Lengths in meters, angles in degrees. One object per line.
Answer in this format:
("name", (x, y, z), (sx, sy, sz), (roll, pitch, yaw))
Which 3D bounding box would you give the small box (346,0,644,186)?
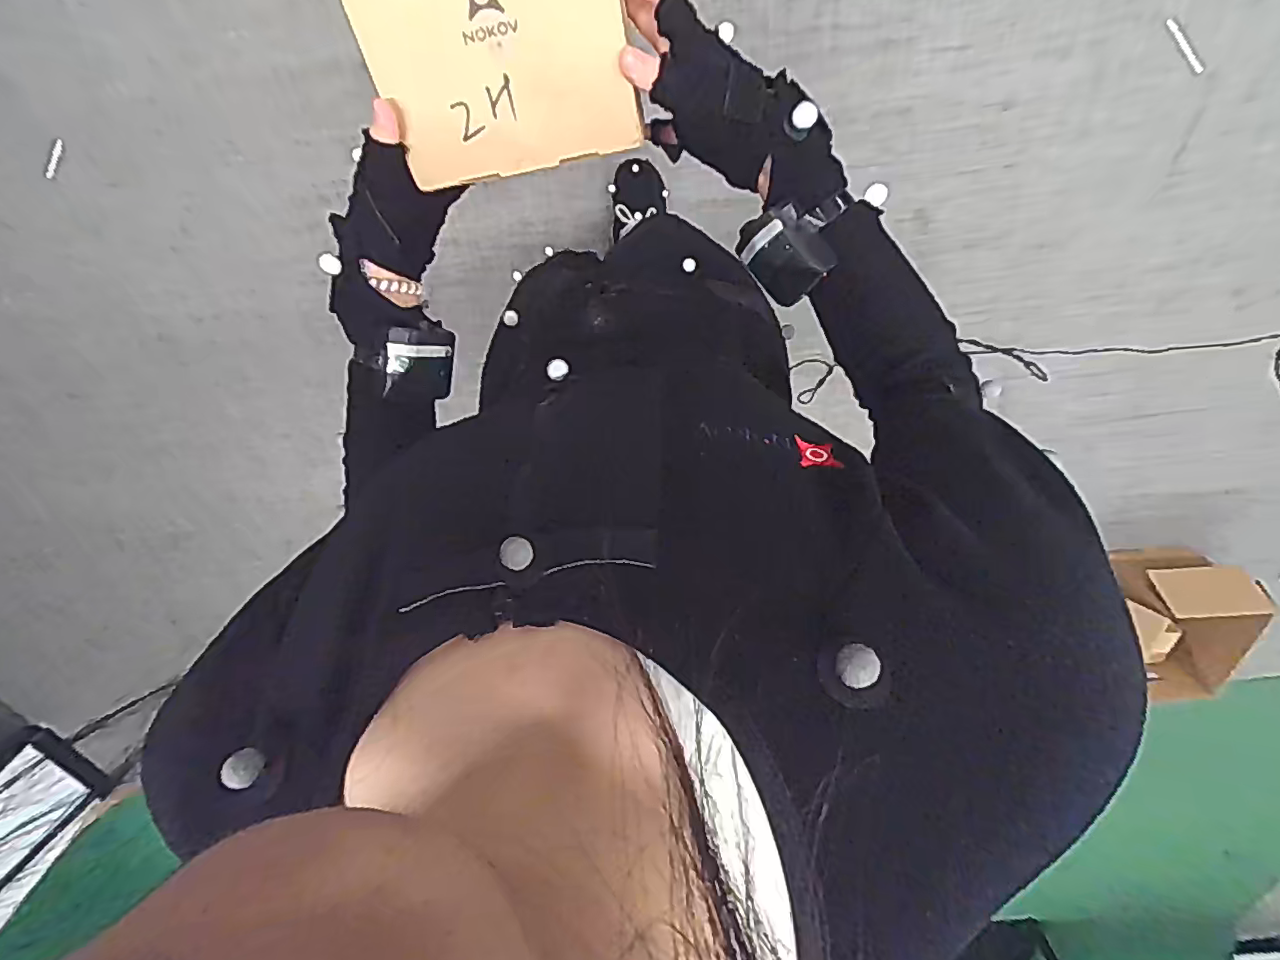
("small box", (-0.091, -0.333, 0.381), (0.168, 0.176, 0.179), (-7, 130, 7))

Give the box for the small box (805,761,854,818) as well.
("small box", (0.871, 1.433, 2.507), (0.179, 0.176, 0.168), (-9, 123, 3))
